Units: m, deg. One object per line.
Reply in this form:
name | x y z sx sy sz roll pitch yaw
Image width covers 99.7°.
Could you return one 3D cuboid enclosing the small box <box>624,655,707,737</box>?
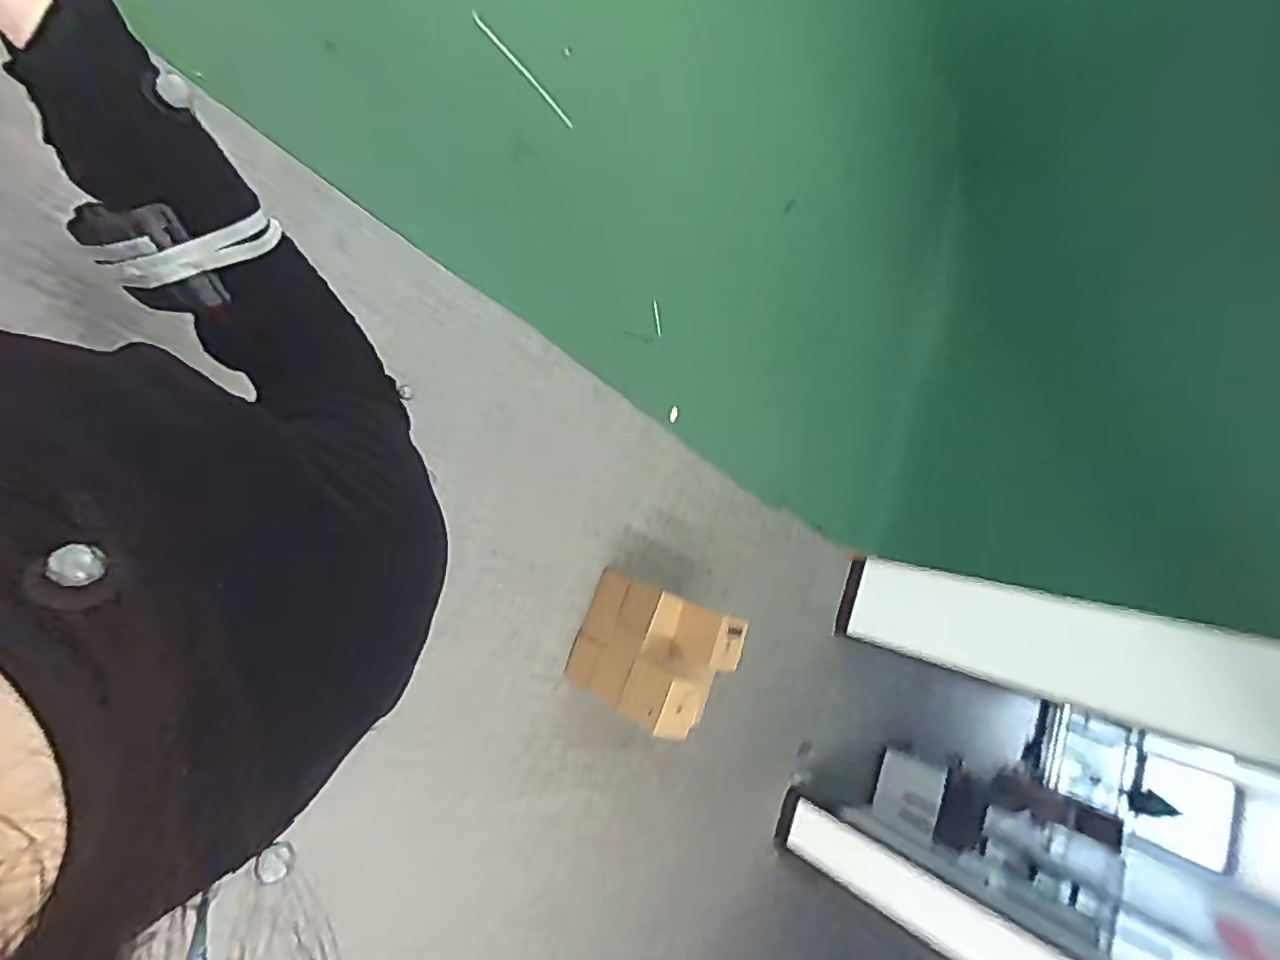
small box | 0.074 0.679 1.705 0.168 0.176 0.179 32 76 -41
